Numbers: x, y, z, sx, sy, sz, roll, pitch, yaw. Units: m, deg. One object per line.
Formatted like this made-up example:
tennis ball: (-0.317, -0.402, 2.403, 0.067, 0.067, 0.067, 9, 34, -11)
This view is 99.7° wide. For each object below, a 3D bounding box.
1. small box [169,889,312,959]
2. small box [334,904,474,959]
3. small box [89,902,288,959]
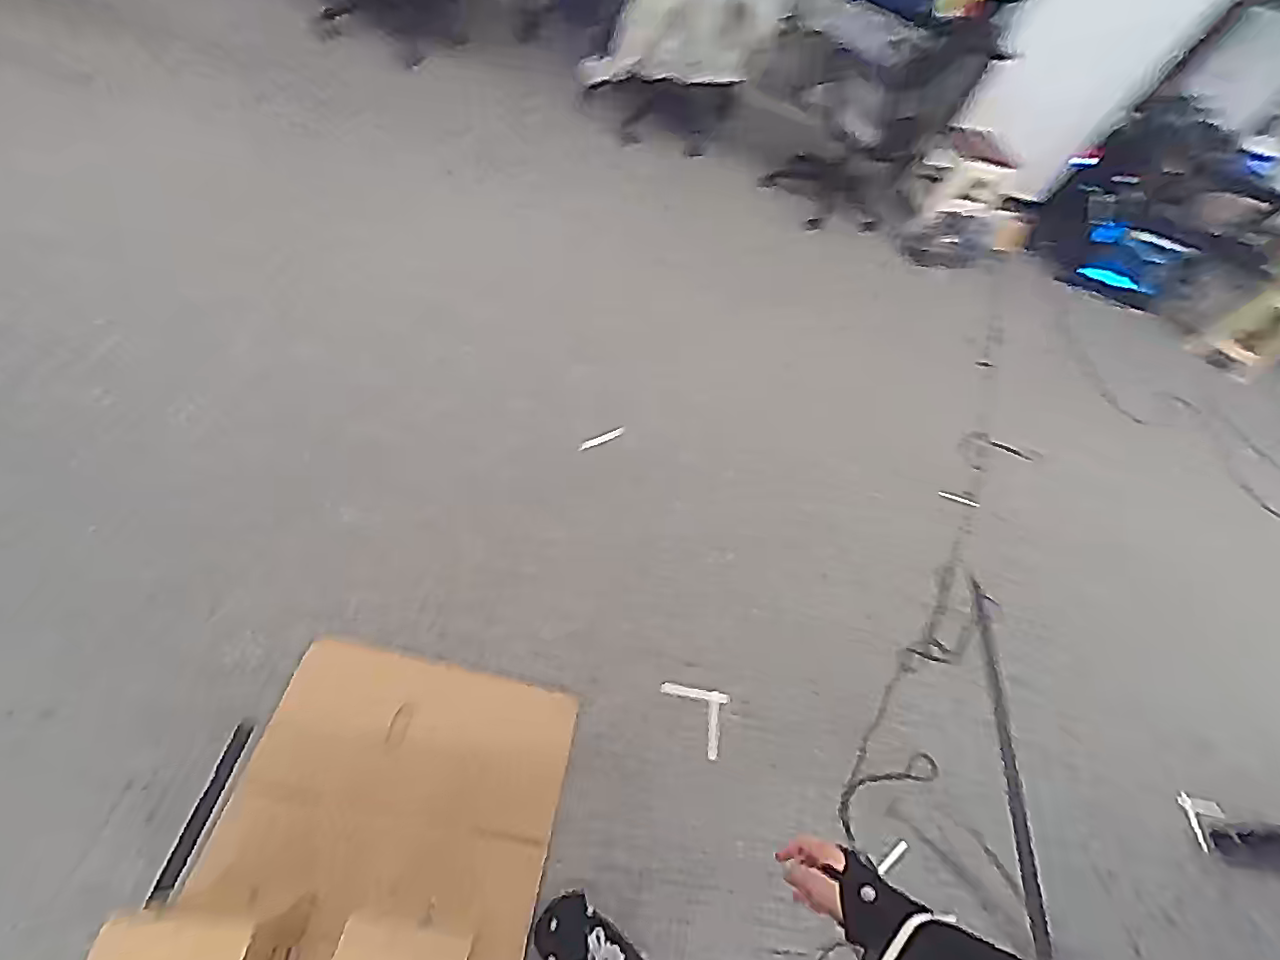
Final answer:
small box: (-0.649, 0.755, 0.851, 0.179, 0.176, 0.168, 10, 56, -12)
small box: (-0.347, 0.724, 0.766, 0.179, 0.176, 0.168, 16, 55, -7)
small box: (-0.608, 0.674, 0.714, 0.179, 0.176, 0.168, 11, 57, -11)
